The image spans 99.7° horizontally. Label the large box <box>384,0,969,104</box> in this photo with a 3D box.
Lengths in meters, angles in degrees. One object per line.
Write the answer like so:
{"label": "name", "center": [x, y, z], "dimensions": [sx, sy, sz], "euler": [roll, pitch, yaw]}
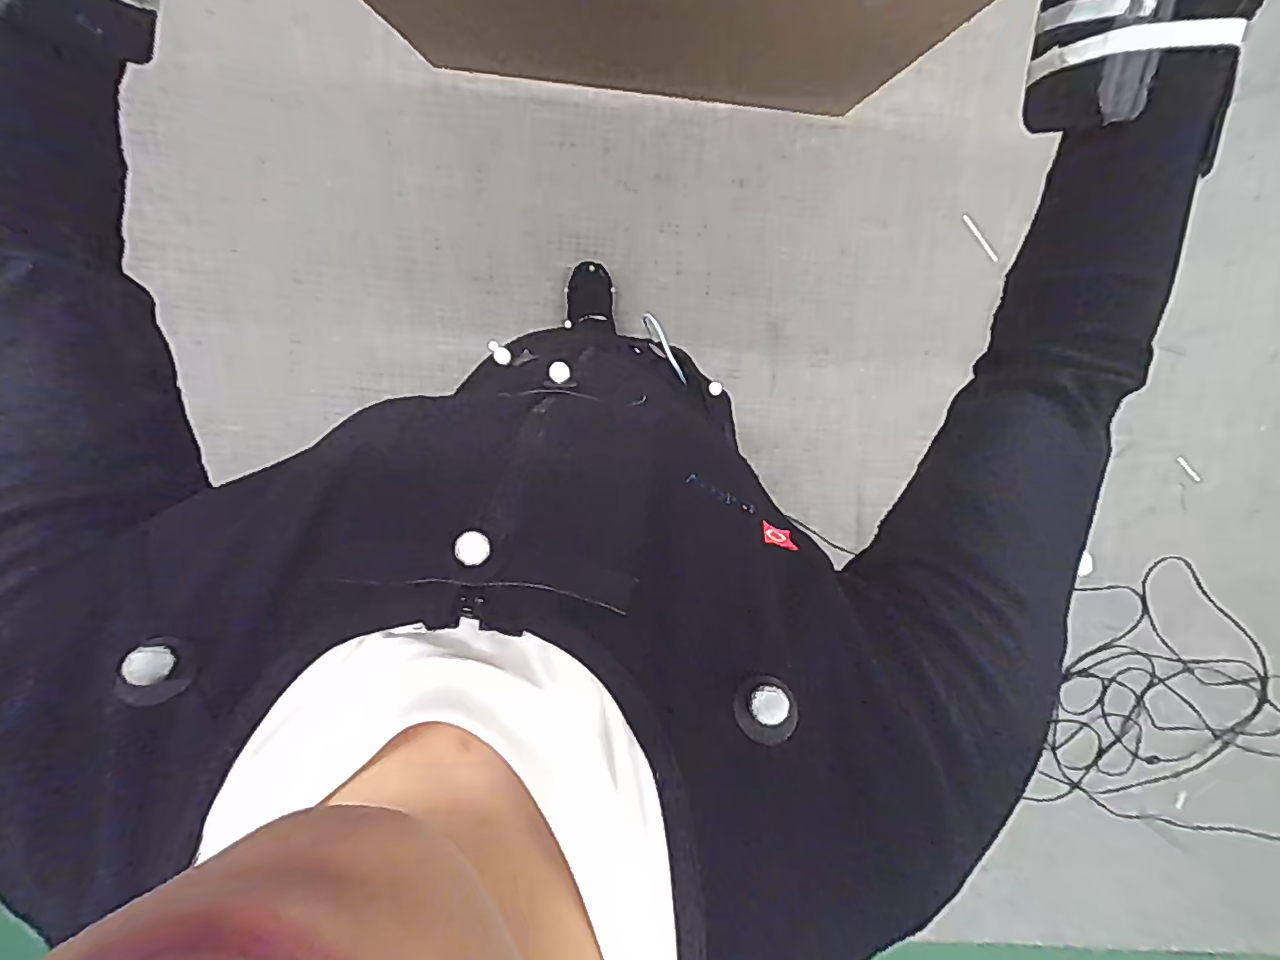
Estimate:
{"label": "large box", "center": [0.019, -0.469, 0.333], "dimensions": [0.408, 0.320, 0.320], "euler": [5, 112, -3]}
